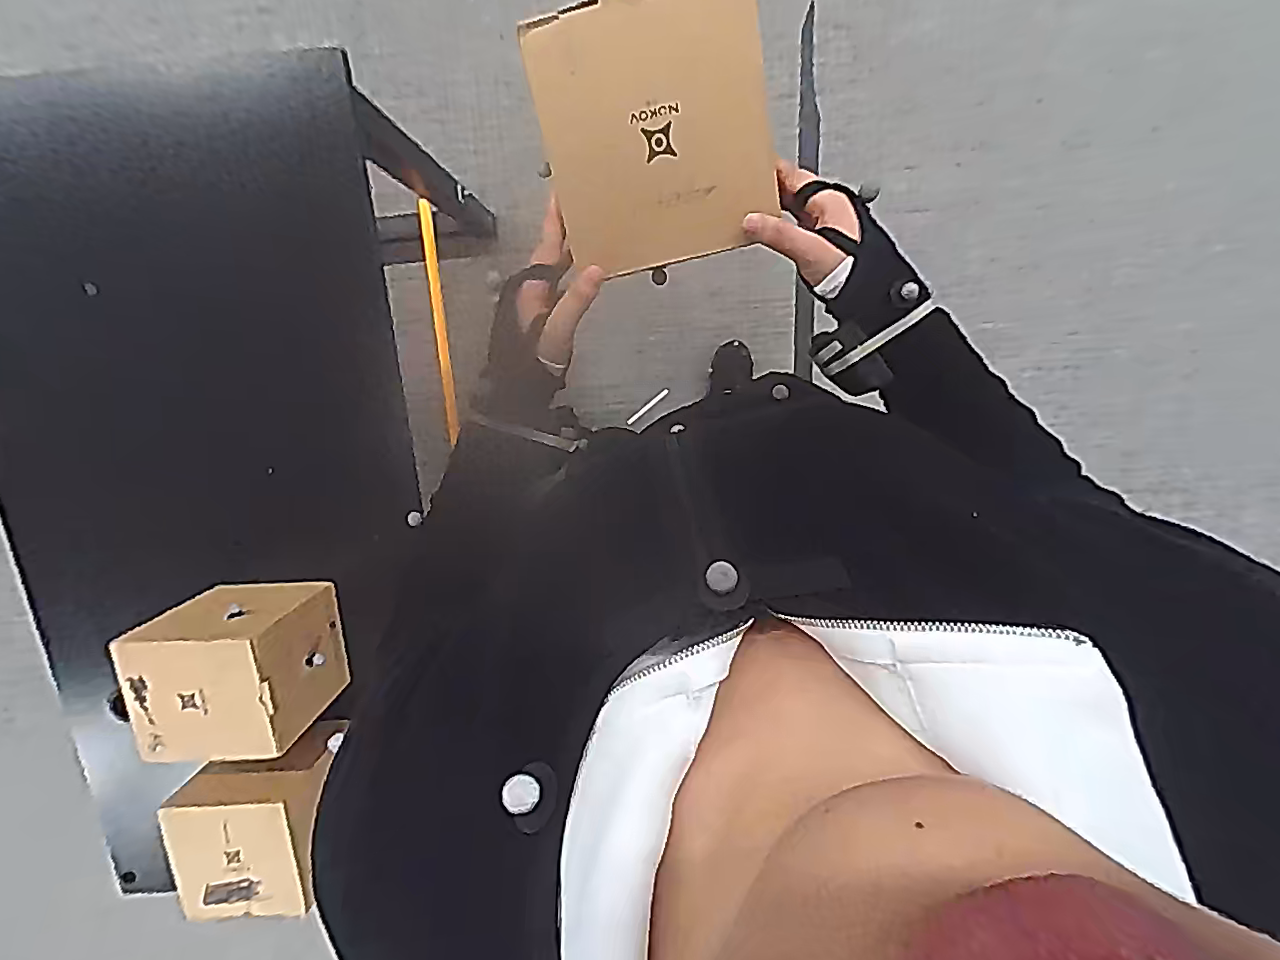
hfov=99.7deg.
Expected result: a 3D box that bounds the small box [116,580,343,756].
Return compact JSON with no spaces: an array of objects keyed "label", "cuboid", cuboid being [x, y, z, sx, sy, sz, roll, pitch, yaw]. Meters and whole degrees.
[{"label":"small box","cuboid":[-0.531,0.244,0.735,0.179,0.176,0.168,-3,103,1]}]

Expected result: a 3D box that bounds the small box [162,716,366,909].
[{"label":"small box","cuboid":[-0.524,0.472,0.784,0.168,0.176,0.179,-3,102,1]}]

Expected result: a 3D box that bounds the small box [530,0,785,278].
[{"label":"small box","cuboid":[0.016,-0.284,0.473,0.168,0.176,0.179,-12,112,4]}]
